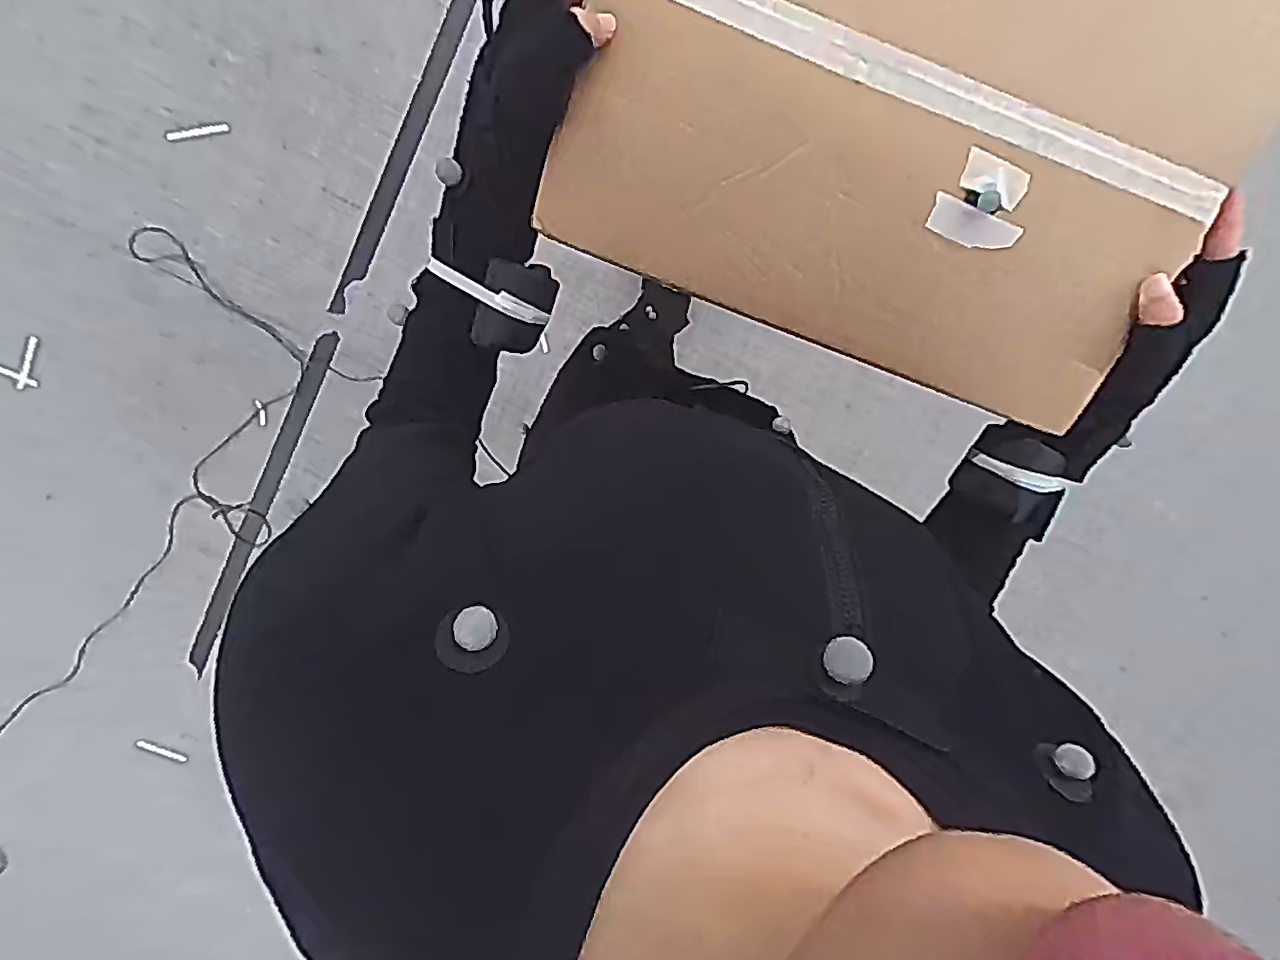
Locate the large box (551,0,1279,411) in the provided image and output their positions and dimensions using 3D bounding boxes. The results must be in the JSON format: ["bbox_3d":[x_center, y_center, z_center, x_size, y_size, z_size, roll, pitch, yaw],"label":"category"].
[{"bbox_3d":[0.178,-0.300,0.478,0.408,0.320,0.320,20,111,-5],"label":"large box"}]
